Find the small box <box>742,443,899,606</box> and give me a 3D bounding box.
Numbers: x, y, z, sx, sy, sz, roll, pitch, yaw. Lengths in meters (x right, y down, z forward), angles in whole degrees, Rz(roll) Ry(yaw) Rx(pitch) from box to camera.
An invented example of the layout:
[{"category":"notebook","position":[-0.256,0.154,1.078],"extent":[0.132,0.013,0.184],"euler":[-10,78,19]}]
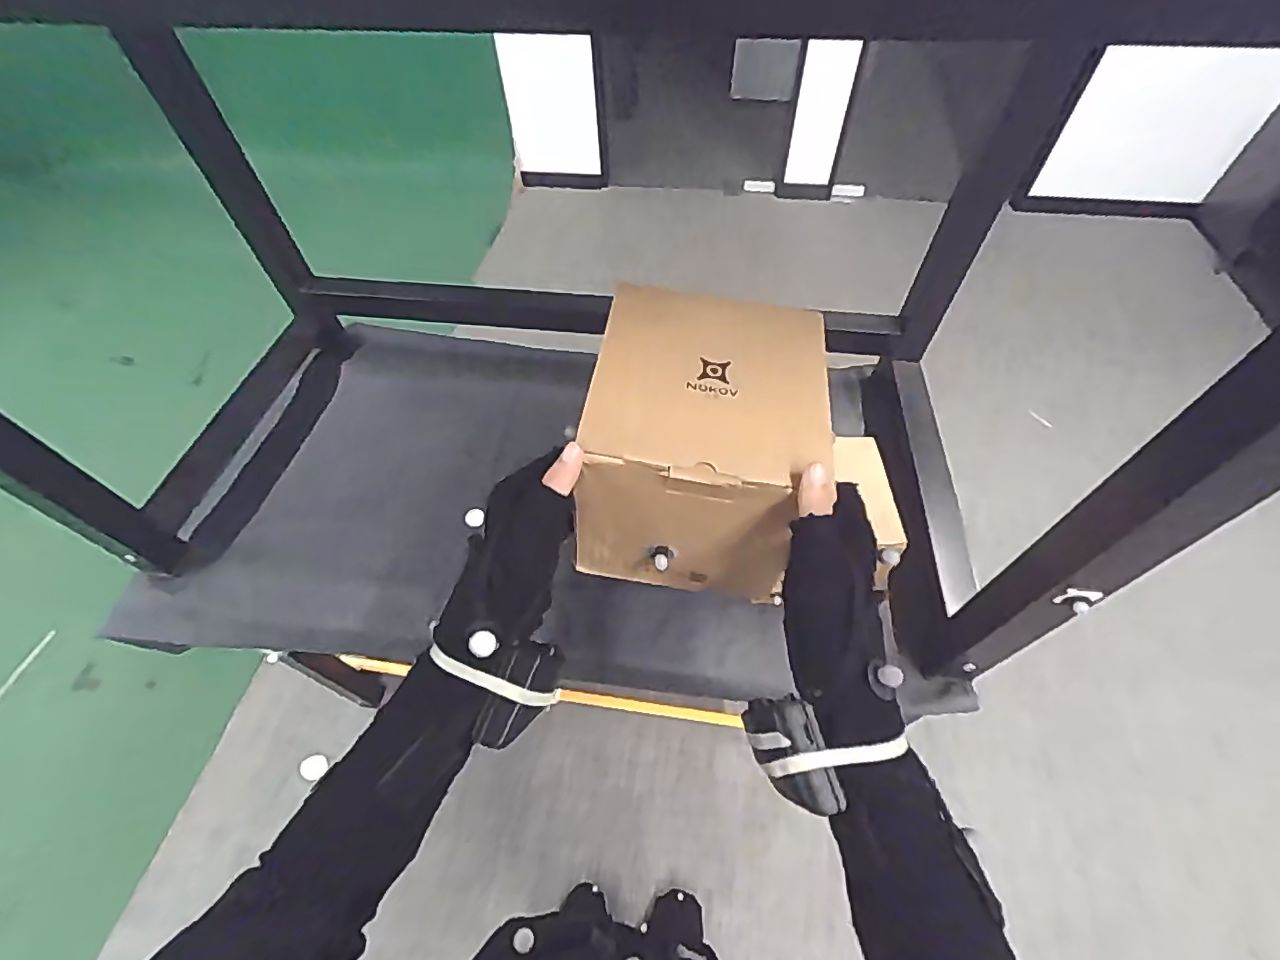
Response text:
[{"category":"small box","position":[0.241,0.067,0.770],"extent":[0.168,0.176,0.179],"euler":[1,52,3]}]
